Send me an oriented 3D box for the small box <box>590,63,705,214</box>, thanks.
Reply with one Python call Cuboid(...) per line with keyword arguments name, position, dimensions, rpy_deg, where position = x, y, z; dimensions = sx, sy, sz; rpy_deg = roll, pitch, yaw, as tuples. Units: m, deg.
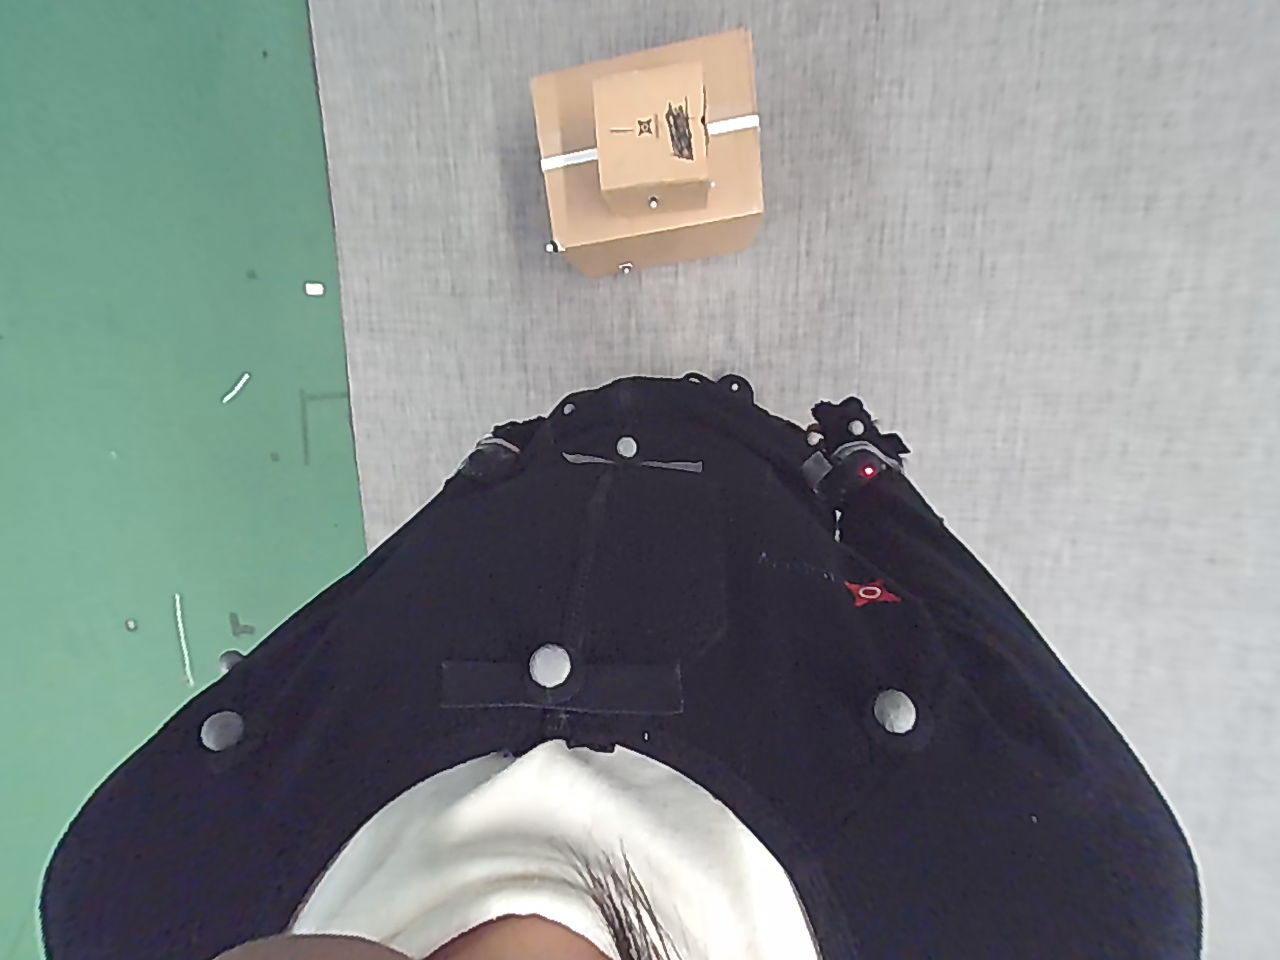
Cuboid(name="small box", position=(0.021, -0.573, 0.931), dimensions=(0.179, 0.176, 0.168), rpy_deg=(-2, 101, 8))
